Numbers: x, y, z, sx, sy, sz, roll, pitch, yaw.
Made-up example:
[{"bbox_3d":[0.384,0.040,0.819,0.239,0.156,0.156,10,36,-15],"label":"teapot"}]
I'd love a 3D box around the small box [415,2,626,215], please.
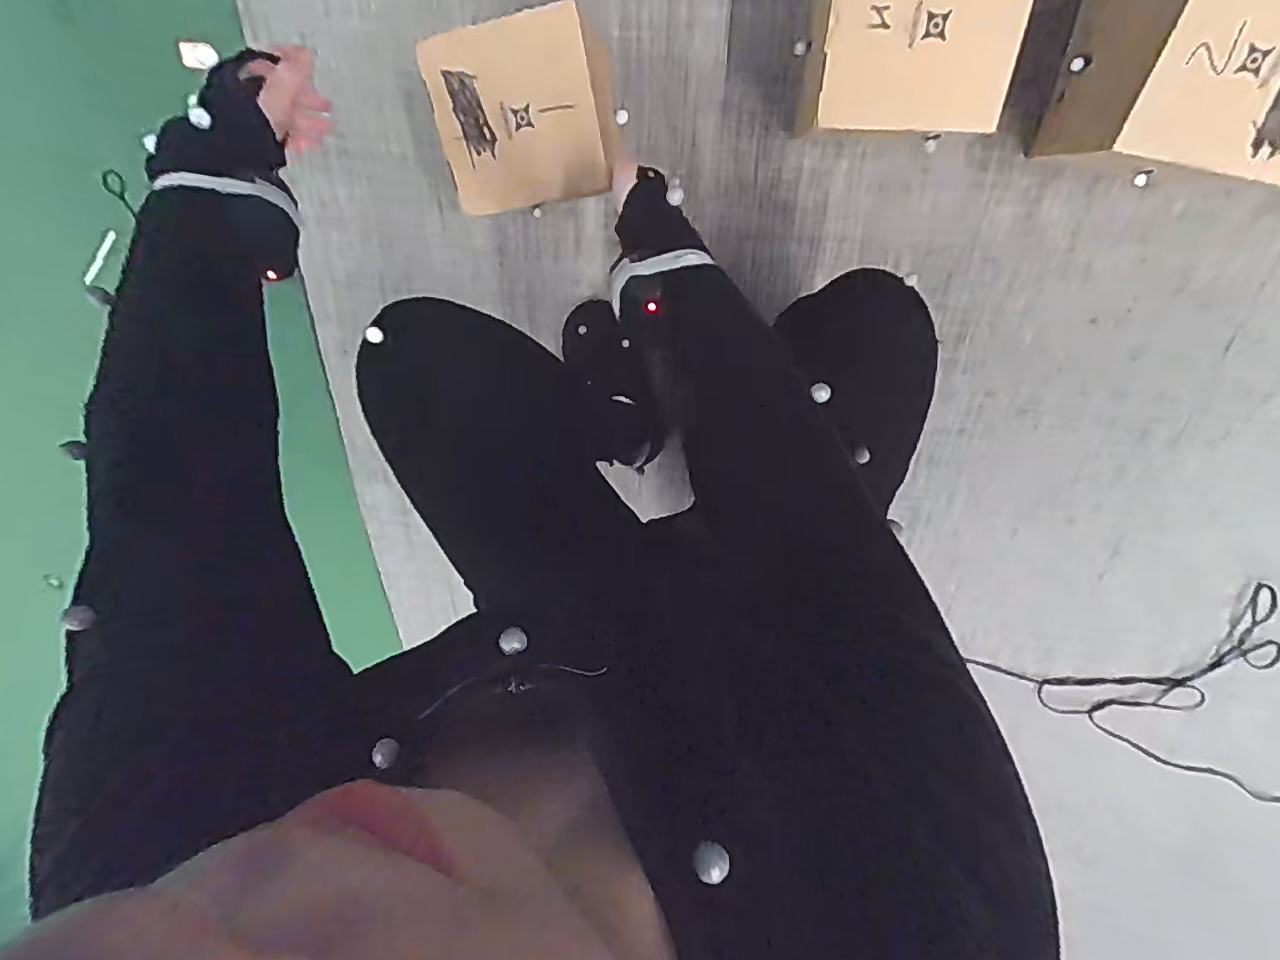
[{"bbox_3d":[-0.123,-0.415,0.635,0.179,0.176,0.168,-6,117,10],"label":"small box"}]

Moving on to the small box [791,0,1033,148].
[{"bbox_3d":[0.268,-0.449,0.563,0.179,0.176,0.168,6,119,5],"label":"small box"}]
